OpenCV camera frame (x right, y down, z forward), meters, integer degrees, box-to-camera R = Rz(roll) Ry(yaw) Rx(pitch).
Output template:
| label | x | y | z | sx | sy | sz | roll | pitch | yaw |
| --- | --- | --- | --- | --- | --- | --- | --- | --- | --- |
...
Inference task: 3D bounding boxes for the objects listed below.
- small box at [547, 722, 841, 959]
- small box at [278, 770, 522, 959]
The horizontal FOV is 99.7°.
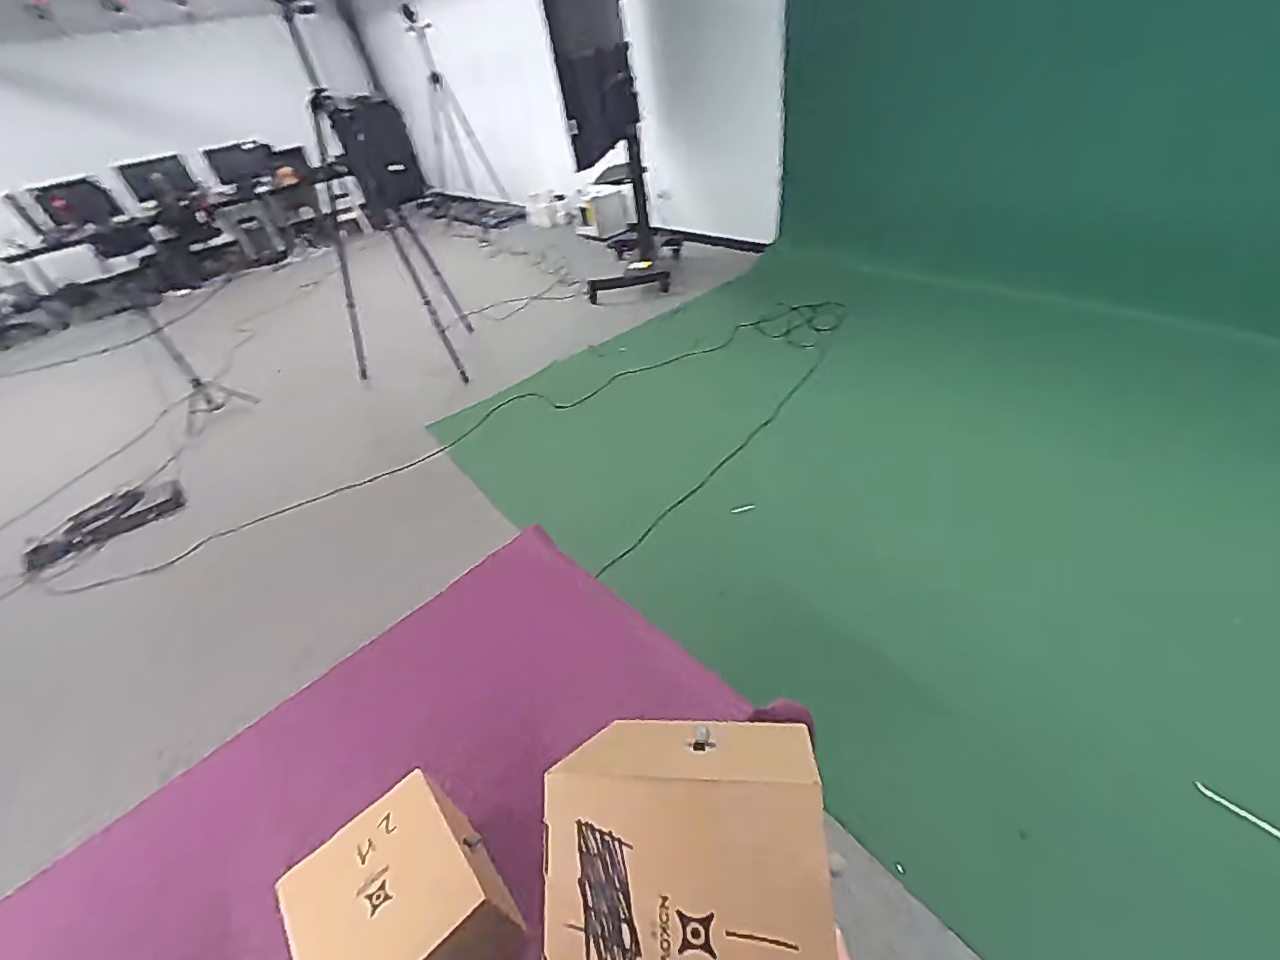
| label | x | y | z | sx | sy | sz | roll | pitch | yaw |
| --- | --- | --- | --- | --- | --- | --- | --- | --- | --- |
| small box | 0.046 | 0.283 | 0.395 | 0.179 | 0.176 | 0.168 | -3 | 77 | 13 |
| small box | -0.256 | 0.477 | 0.603 | 0.168 | 0.176 | 0.179 | -33 | 45 | -26 |
